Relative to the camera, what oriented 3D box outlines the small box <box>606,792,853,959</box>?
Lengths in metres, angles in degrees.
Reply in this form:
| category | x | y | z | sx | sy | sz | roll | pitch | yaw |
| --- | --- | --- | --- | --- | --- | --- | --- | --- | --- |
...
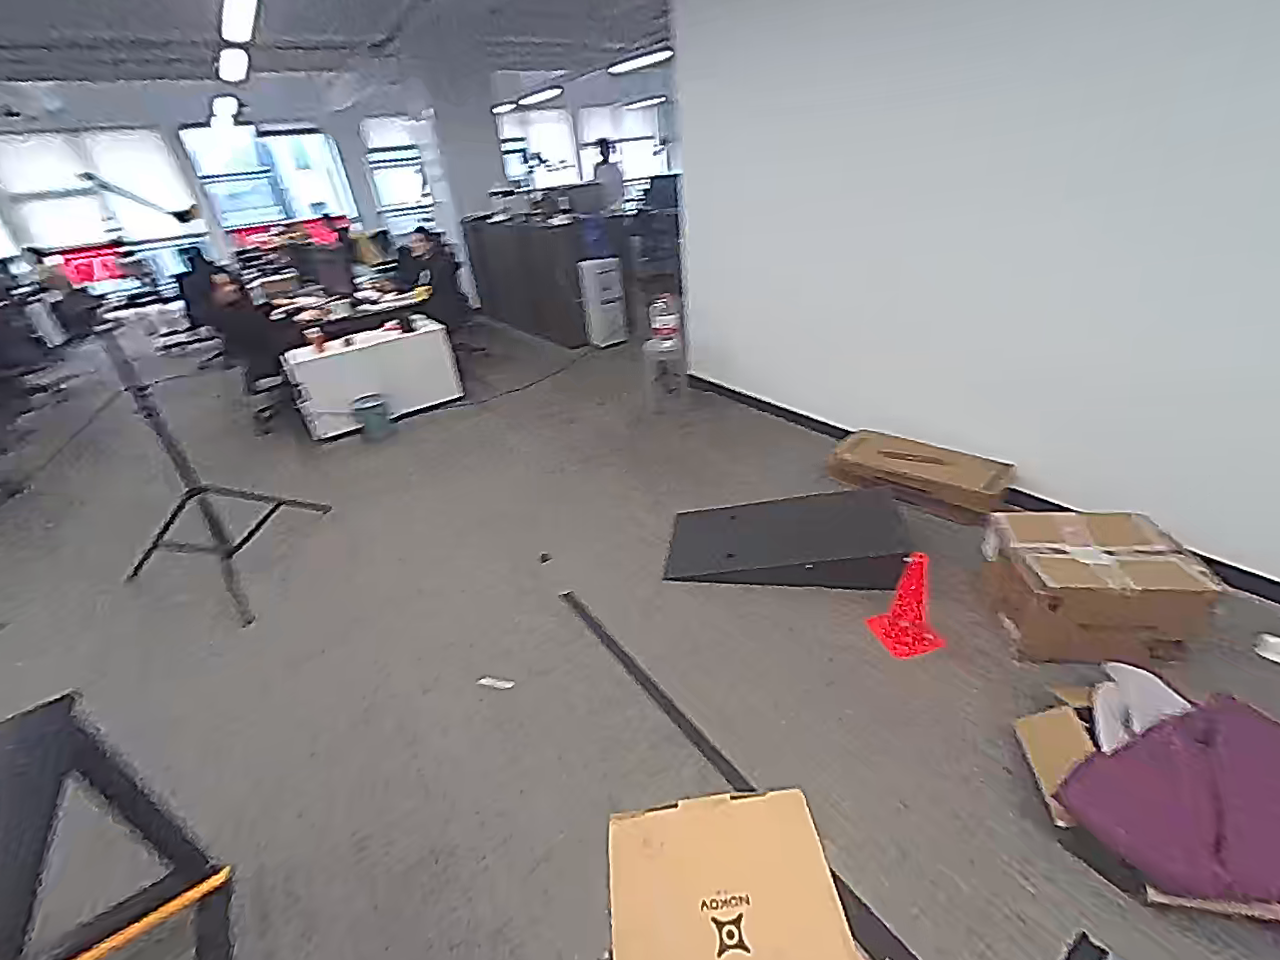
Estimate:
| category | x | y | z | sx | sy | sz | roll | pitch | yaw |
| --- | --- | --- | --- | --- | --- | --- | --- | --- | --- |
| small box | 0.064 | 0.380 | 0.418 | 0.168 | 0.176 | 0.179 | -7 | 33 | -2 |
